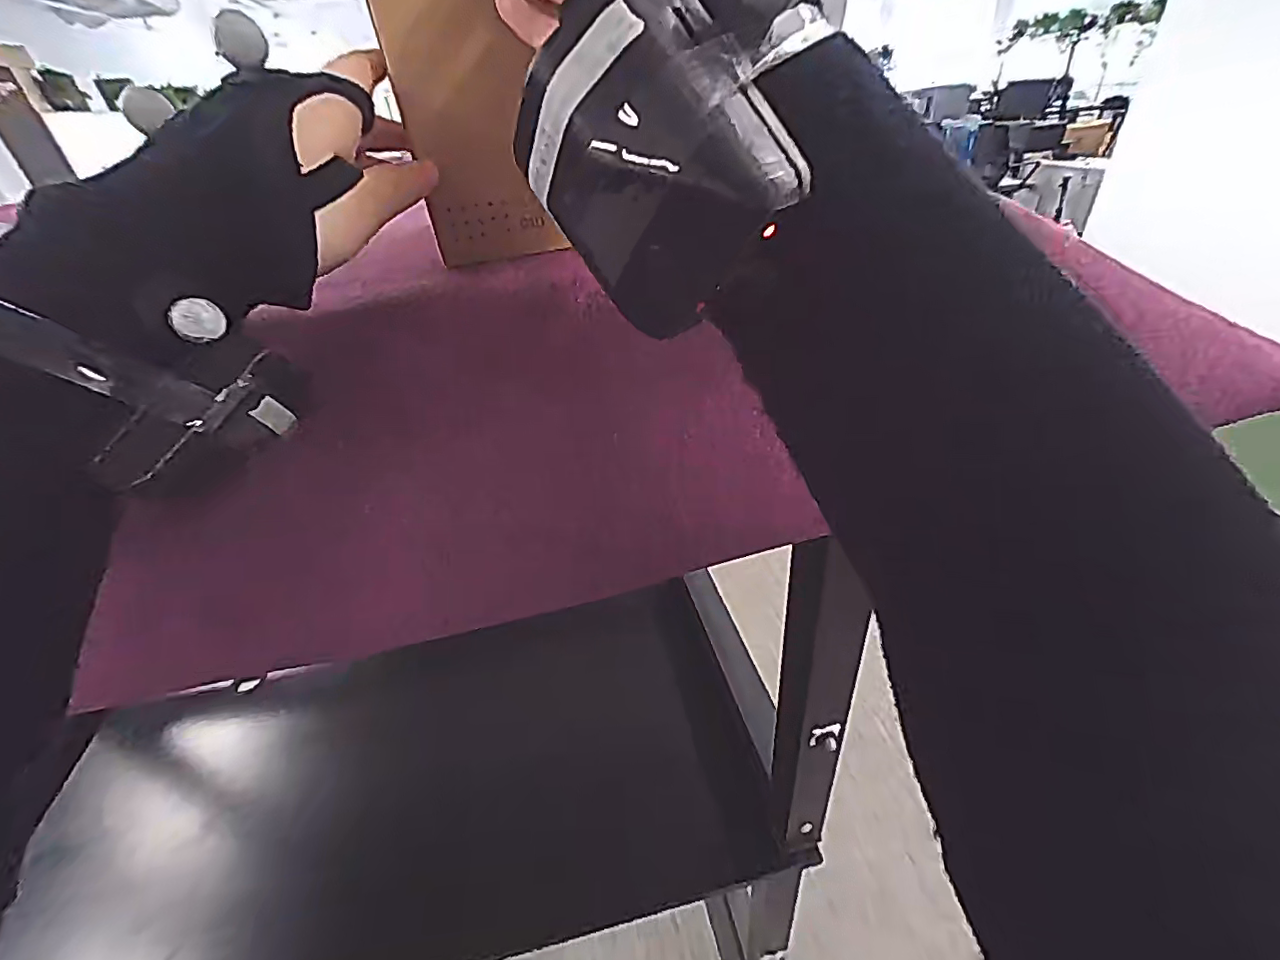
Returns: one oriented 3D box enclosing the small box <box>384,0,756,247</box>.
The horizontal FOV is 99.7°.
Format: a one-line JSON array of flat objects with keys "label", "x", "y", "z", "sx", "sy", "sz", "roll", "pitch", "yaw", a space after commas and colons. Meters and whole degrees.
[{"label": "small box", "x": -0.045, "y": -0.239, "z": 0.305, "sx": 0.168, "sy": 0.176, "sz": 0.179, "roll": -13, "pitch": 35, "yaw": -9}]
